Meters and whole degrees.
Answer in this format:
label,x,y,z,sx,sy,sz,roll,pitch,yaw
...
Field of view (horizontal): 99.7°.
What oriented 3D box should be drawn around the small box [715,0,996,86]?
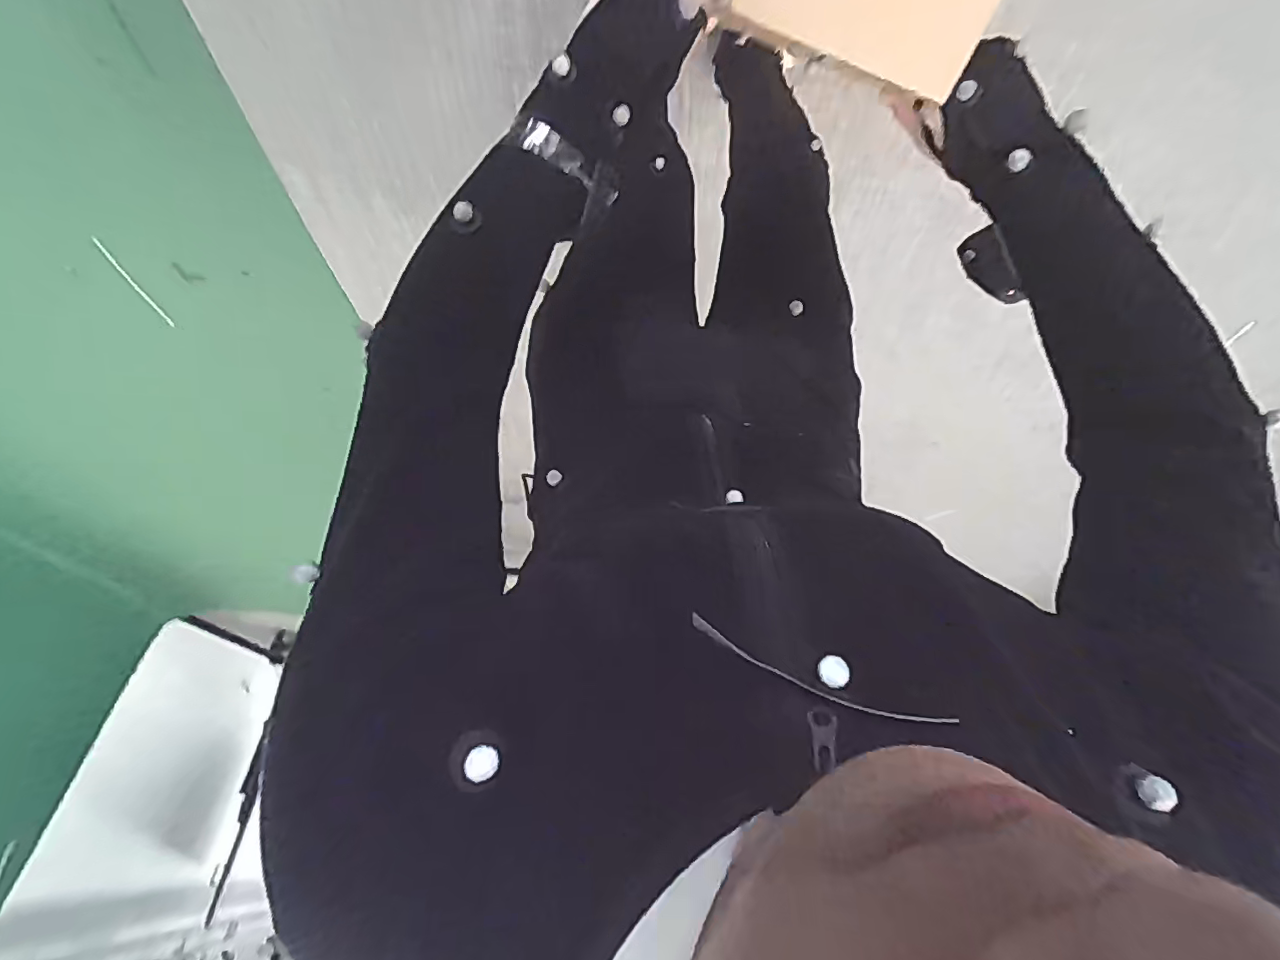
label,x,y,z,sx,sy,sz,roll,pitch,yaw
small box,0.164,-0.414,0.386,0.179,0.176,0.168,13,129,-13
